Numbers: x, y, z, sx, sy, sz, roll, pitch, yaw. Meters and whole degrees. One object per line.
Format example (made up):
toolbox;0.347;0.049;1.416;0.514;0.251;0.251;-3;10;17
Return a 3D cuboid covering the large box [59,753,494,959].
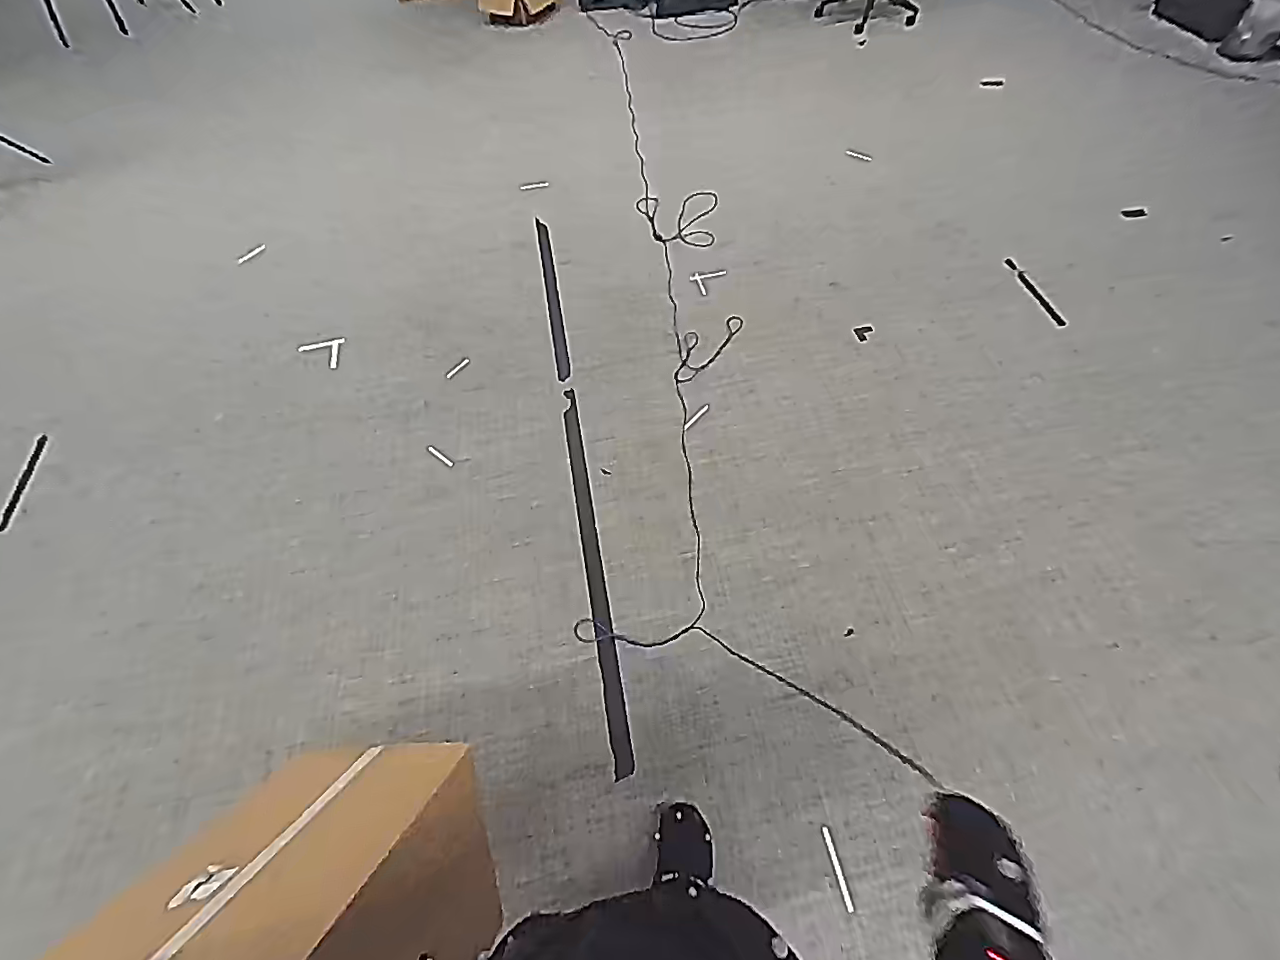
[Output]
large box;-0.429;0.622;0.707;0.320;0.408;0.320;-8;96;10
